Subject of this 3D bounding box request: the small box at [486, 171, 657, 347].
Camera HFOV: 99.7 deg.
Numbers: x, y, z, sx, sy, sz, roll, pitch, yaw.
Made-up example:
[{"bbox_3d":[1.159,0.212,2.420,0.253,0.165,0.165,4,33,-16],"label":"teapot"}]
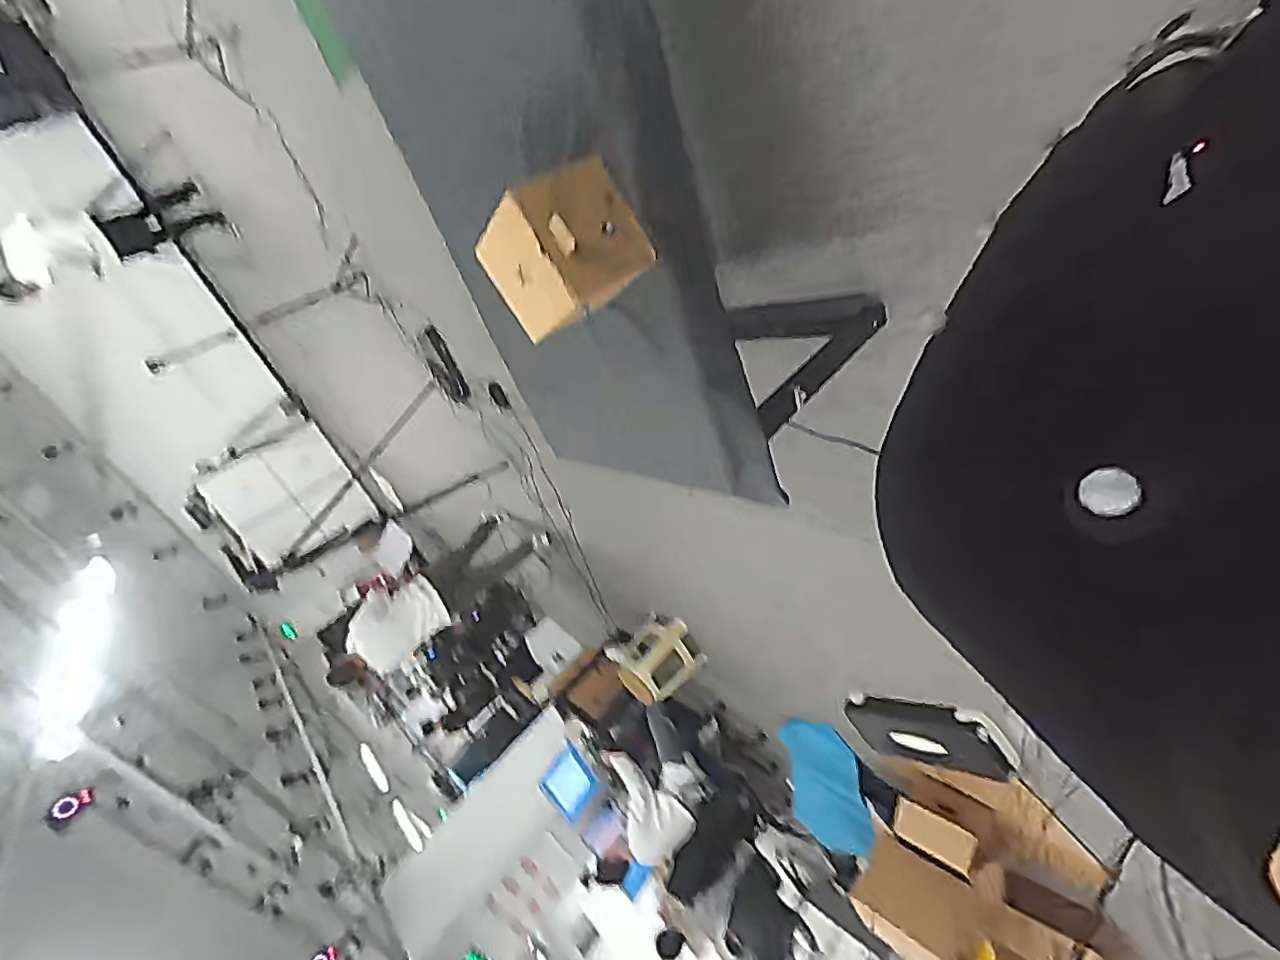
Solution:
[{"bbox_3d":[-0.105,-0.338,0.840,0.168,0.176,0.179,56,151,-12],"label":"small box"}]
